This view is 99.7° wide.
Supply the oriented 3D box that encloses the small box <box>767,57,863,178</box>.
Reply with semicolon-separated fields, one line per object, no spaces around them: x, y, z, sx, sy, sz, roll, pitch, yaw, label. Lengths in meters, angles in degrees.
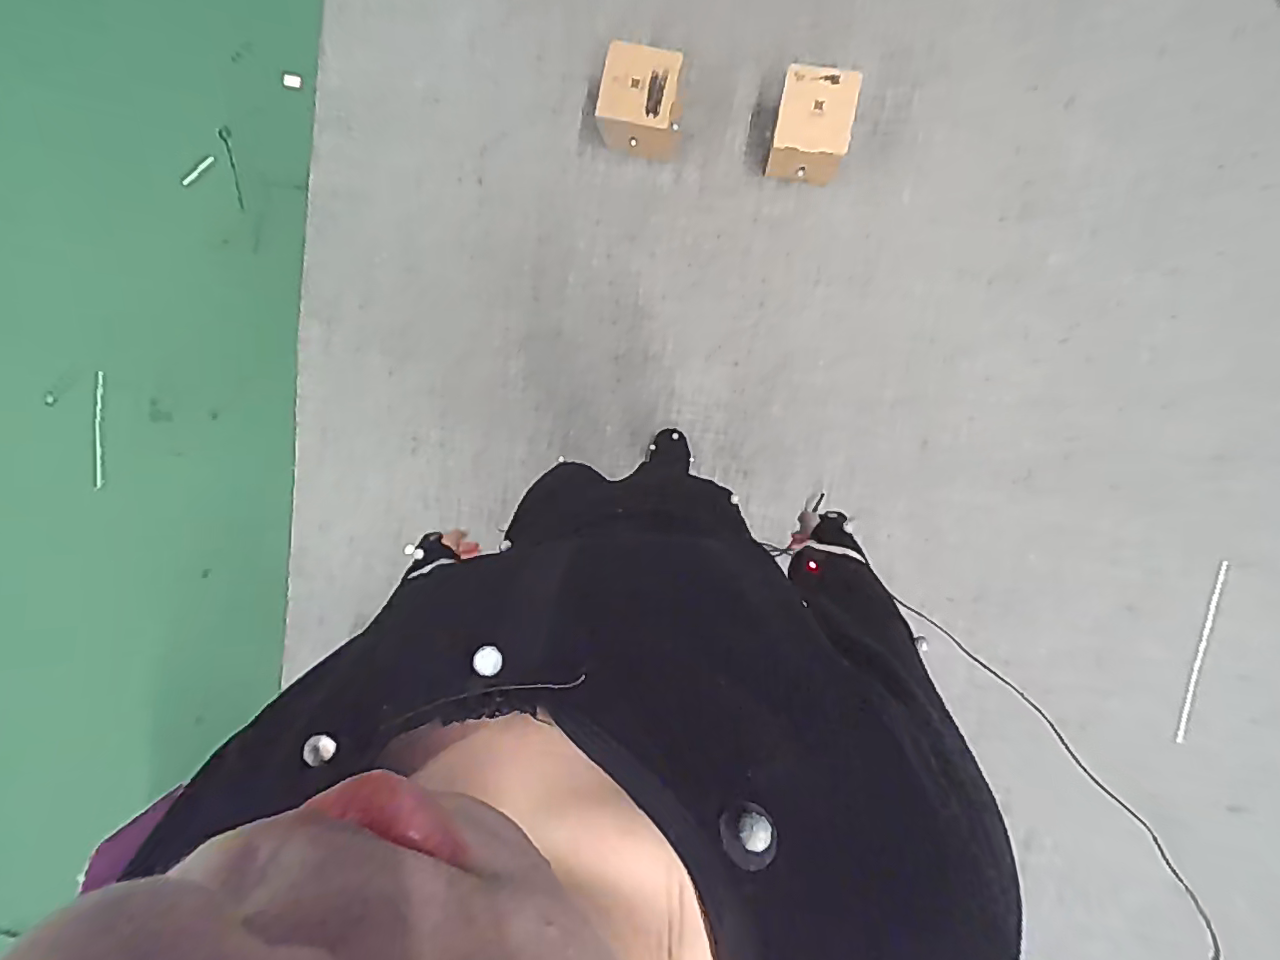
0.400;-0.838;1.267;0.168;0.176;0.179;11;99;5;small box
